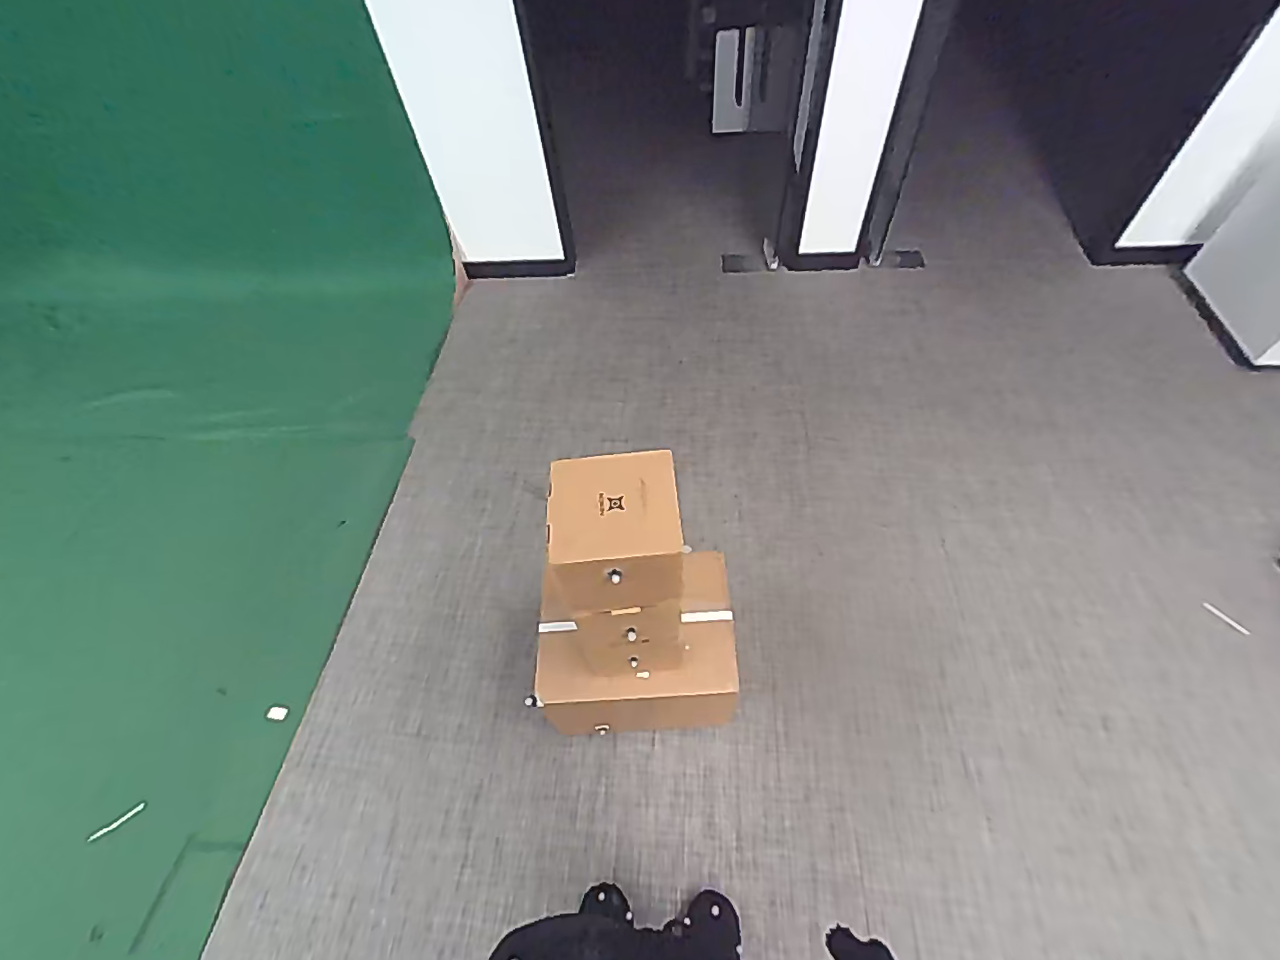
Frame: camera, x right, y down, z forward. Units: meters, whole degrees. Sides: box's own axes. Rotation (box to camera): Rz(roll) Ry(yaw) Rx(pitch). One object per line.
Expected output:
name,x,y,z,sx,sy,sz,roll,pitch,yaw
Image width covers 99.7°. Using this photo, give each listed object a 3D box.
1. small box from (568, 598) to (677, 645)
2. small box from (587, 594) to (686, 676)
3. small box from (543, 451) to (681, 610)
small box,-0.028,0.171,0.918,0.168,0.176,0.179,-7,55,0
small box,-0.011,0.268,1.048,0.179,0.176,0.168,-8,55,-2
small box,-0.034,0.079,0.784,0.179,0.176,0.168,-5,56,0
